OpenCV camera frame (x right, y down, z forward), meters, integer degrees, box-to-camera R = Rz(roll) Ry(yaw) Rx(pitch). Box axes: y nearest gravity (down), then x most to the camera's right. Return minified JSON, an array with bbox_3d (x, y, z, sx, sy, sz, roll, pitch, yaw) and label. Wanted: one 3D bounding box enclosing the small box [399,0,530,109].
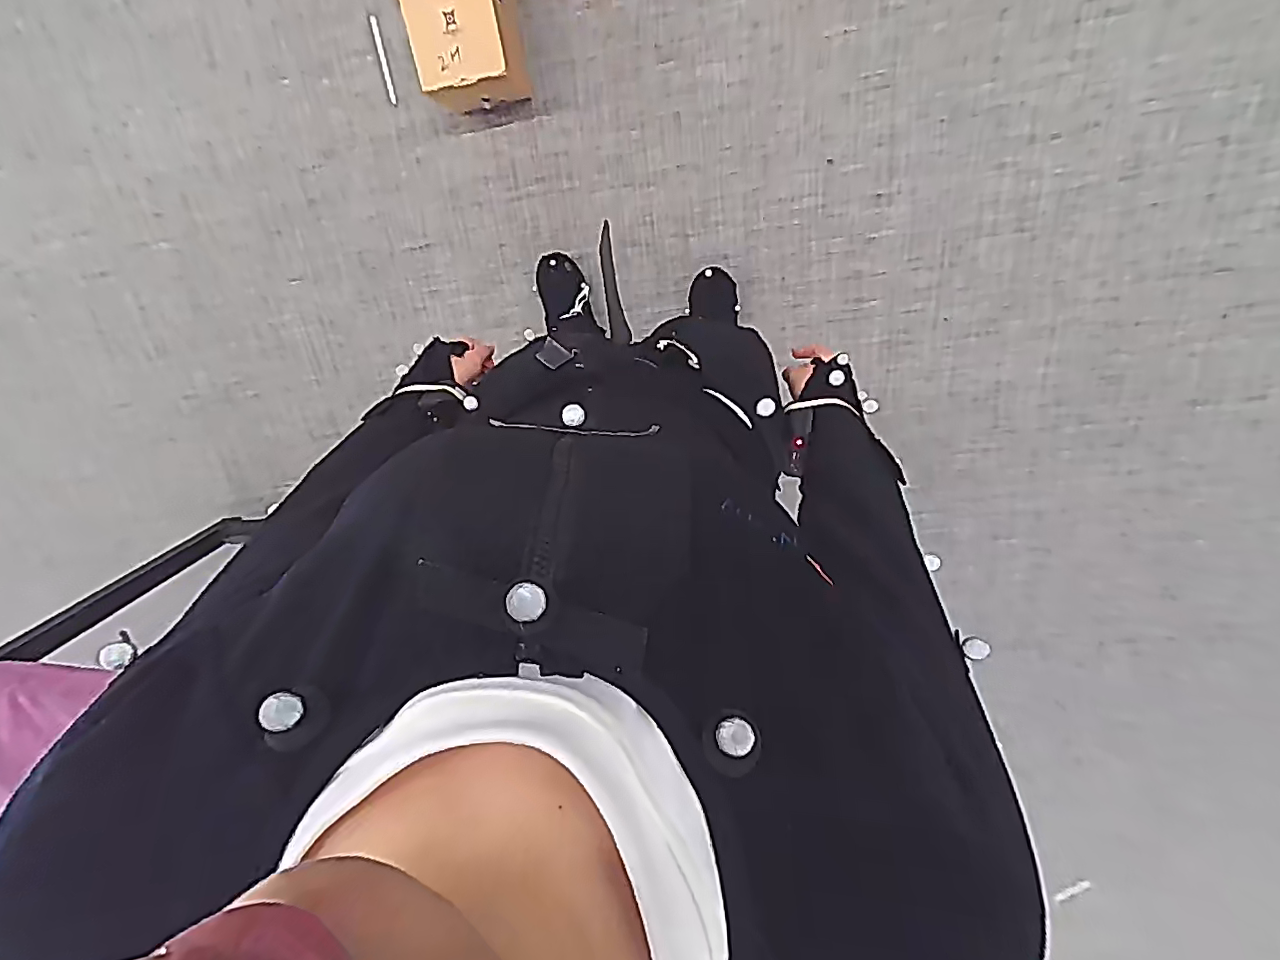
[{"bbox_3d":[-0.320,-0.823,1.005,0.168,0.176,0.179,-6,113,9],"label":"small box"}]
